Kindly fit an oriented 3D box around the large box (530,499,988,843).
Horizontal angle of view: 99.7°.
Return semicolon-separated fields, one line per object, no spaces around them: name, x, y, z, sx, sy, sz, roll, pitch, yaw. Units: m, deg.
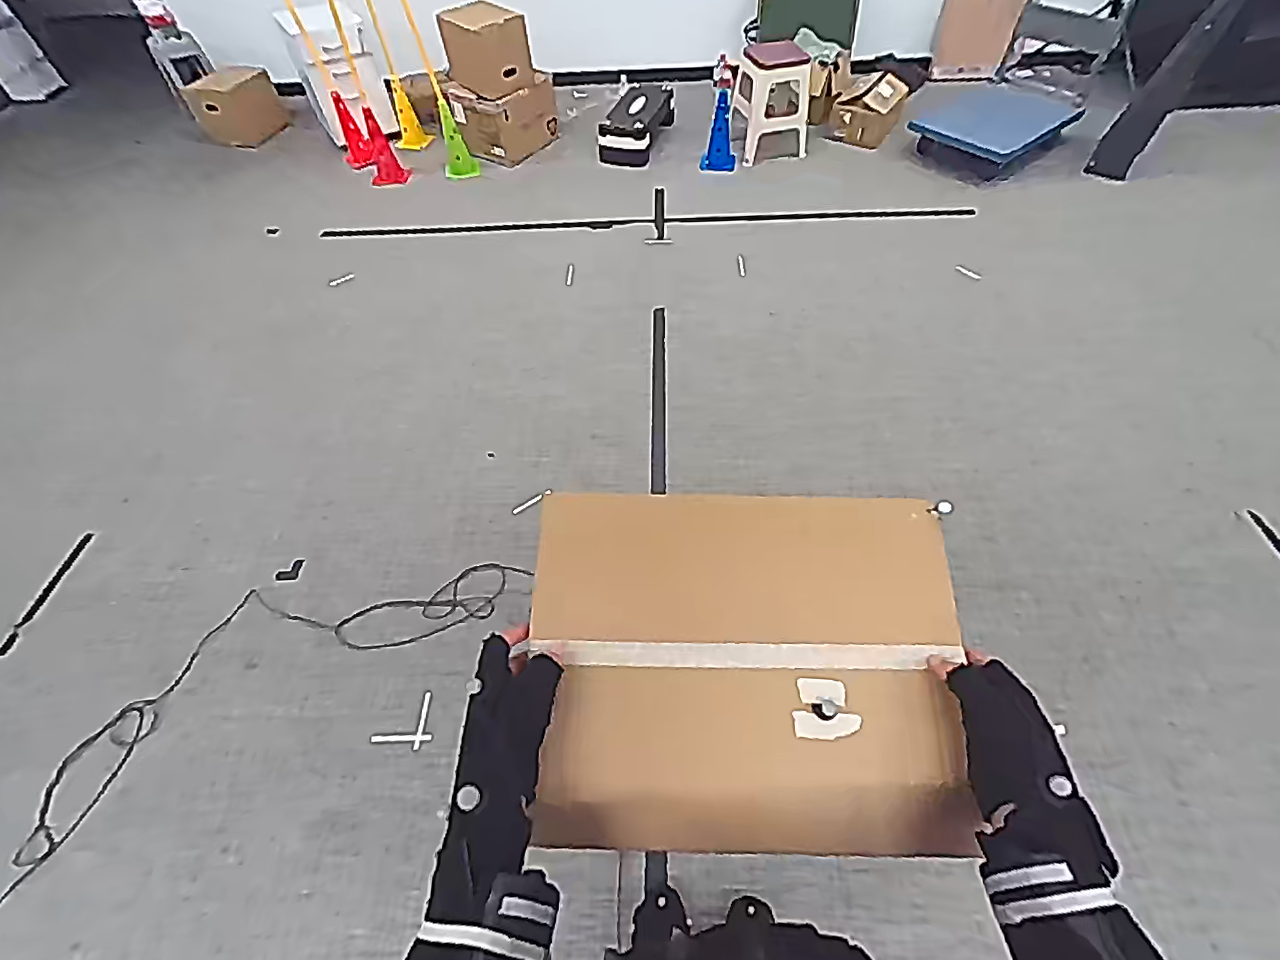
large box;0.100;0.219;0.654;0.408;0.320;0.320;0;69;0
